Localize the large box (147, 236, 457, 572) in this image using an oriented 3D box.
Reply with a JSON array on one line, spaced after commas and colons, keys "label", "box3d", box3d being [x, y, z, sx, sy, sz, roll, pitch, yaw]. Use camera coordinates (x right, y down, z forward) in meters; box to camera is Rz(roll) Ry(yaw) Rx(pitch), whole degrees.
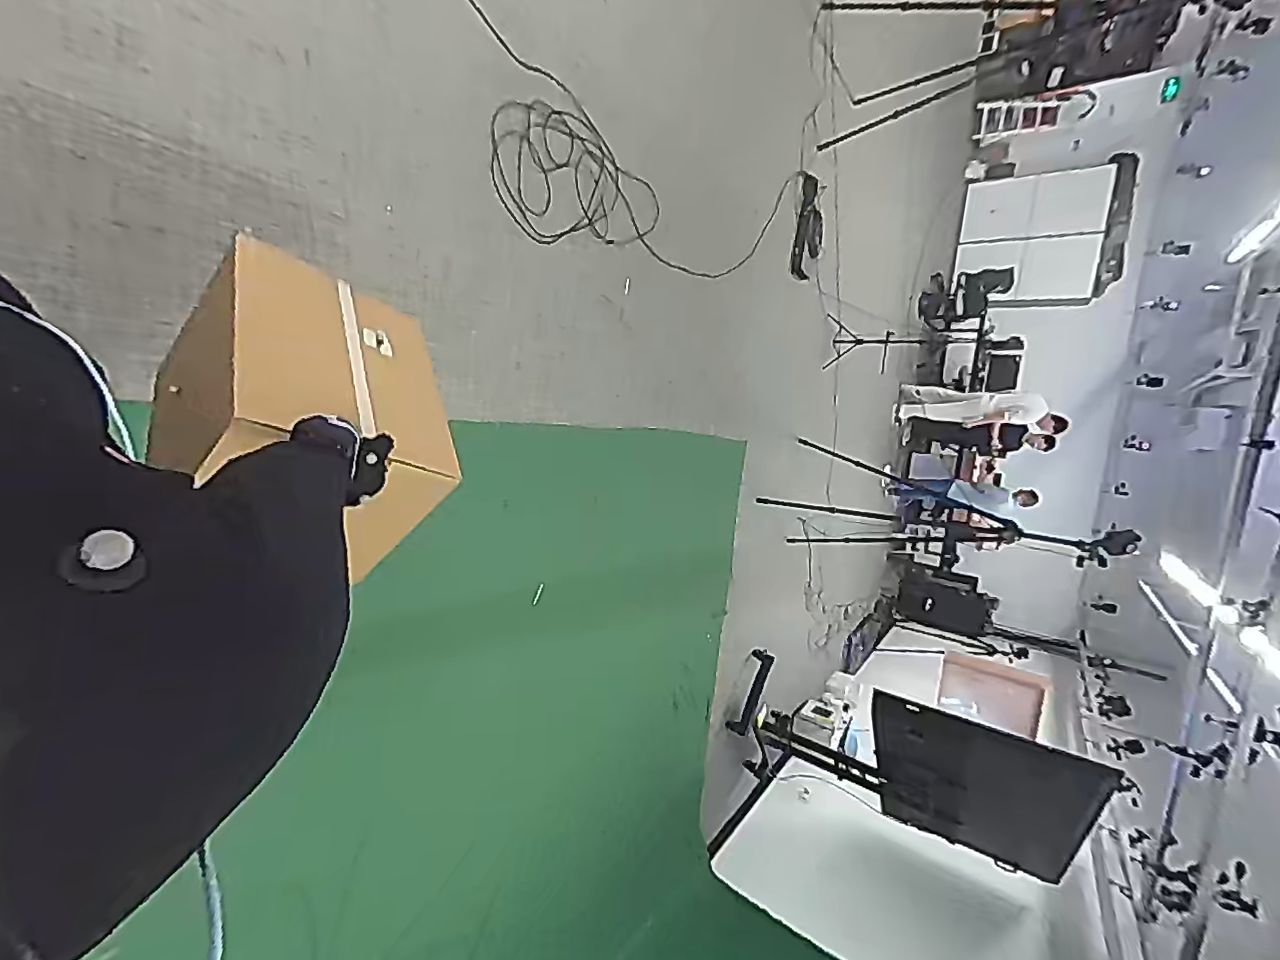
[{"label": "large box", "box3d": [-0.562, -0.100, 0.901, 0.320, 0.408, 0.320, -39, 147, 21]}]
